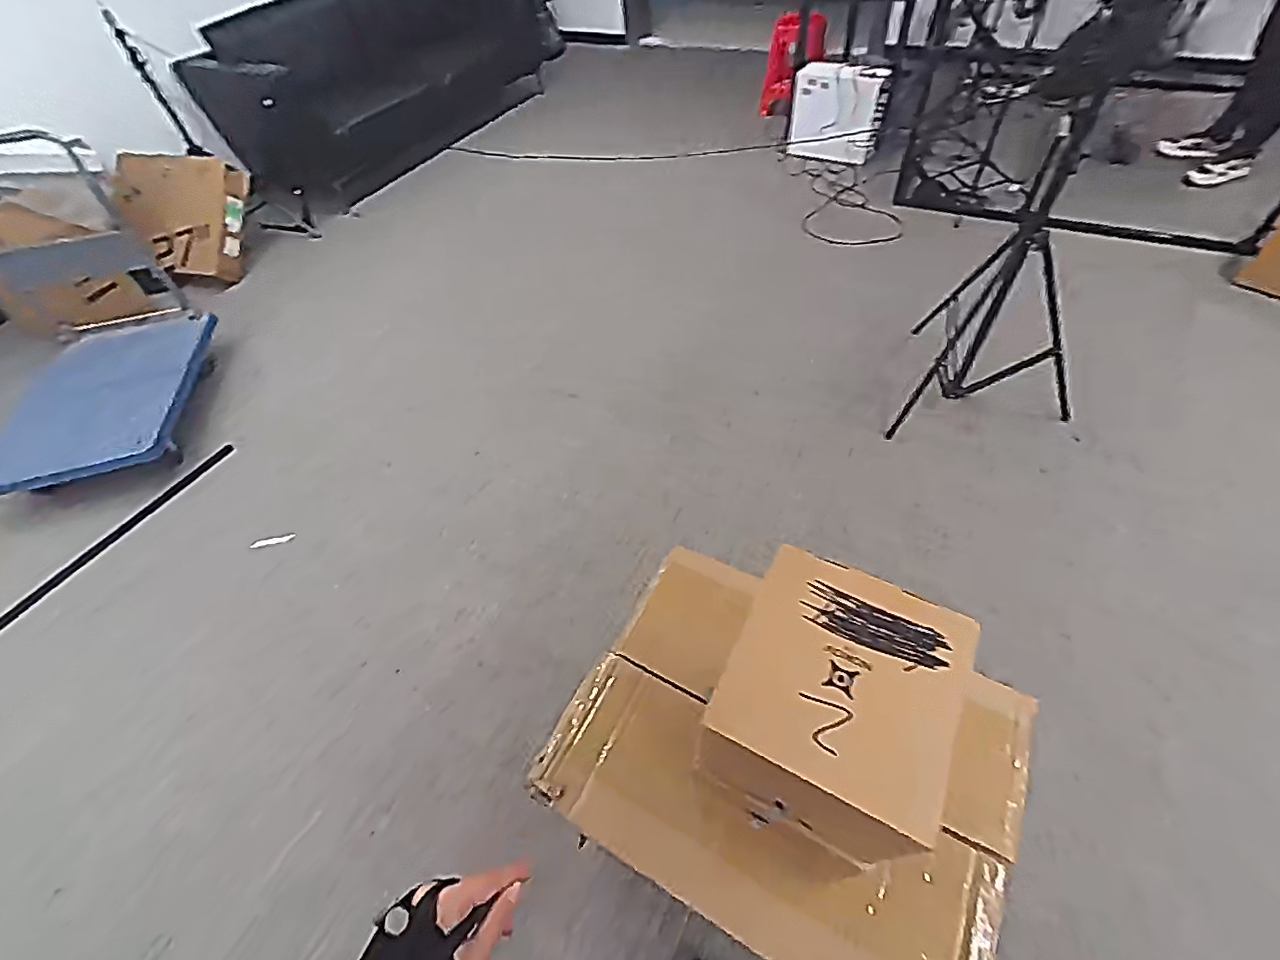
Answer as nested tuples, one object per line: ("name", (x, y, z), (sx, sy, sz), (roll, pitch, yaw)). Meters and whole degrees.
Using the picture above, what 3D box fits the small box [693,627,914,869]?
("small box", (0.171, 0.300, 0.600), (0.179, 0.176, 0.168), (22, 57, 21))
